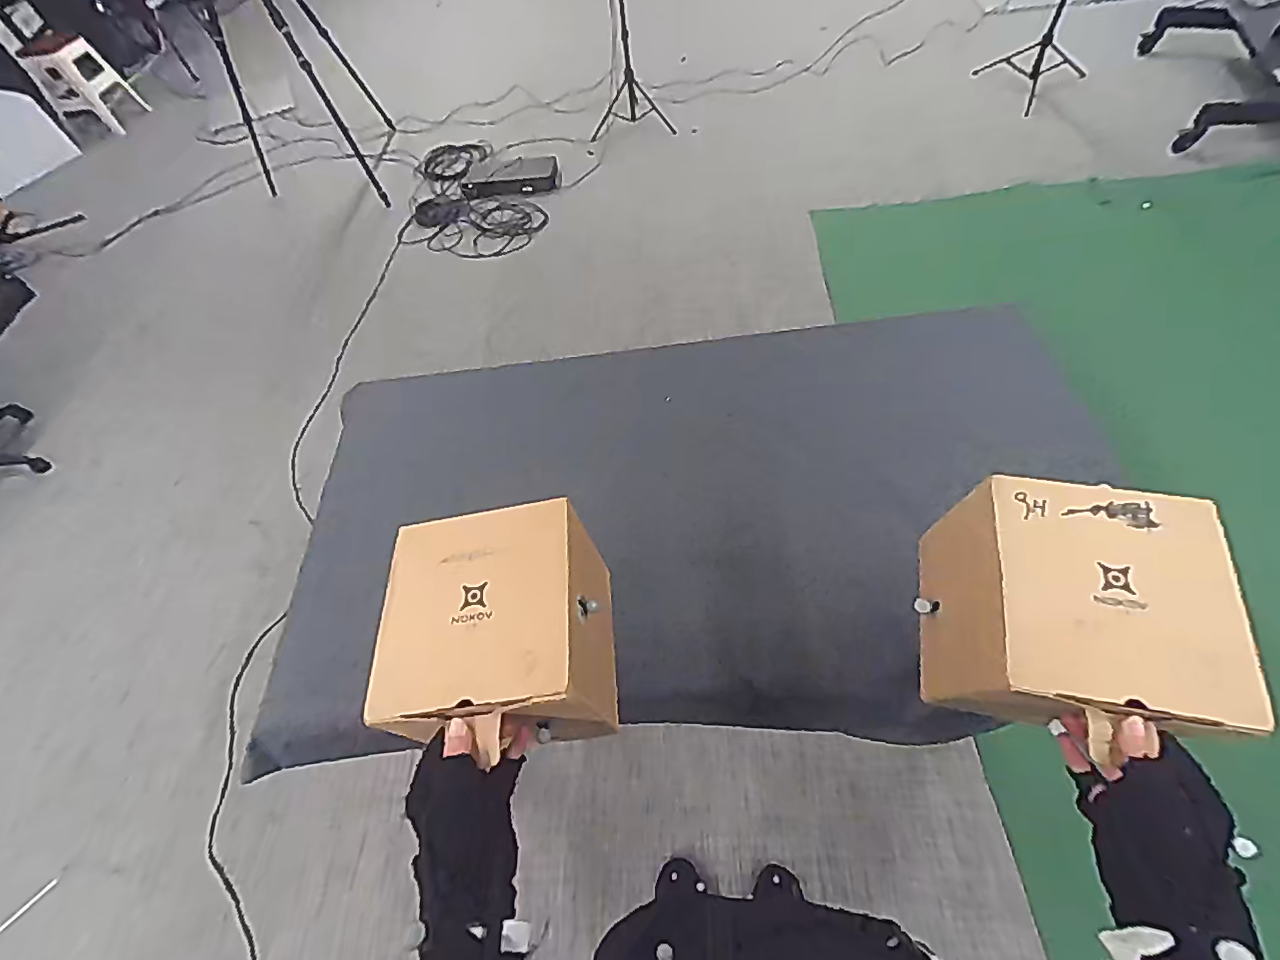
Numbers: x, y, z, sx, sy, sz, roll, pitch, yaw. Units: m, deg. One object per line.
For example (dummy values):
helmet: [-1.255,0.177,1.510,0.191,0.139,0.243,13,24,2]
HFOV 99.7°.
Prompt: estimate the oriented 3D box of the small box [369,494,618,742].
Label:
small box: [-0.120,0.141,0.514,0.168,0.176,0.179,-10,54,5]

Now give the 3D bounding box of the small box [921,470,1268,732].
small box: [0.366,0.111,0.480,0.168,0.176,0.179,8,67,9]
